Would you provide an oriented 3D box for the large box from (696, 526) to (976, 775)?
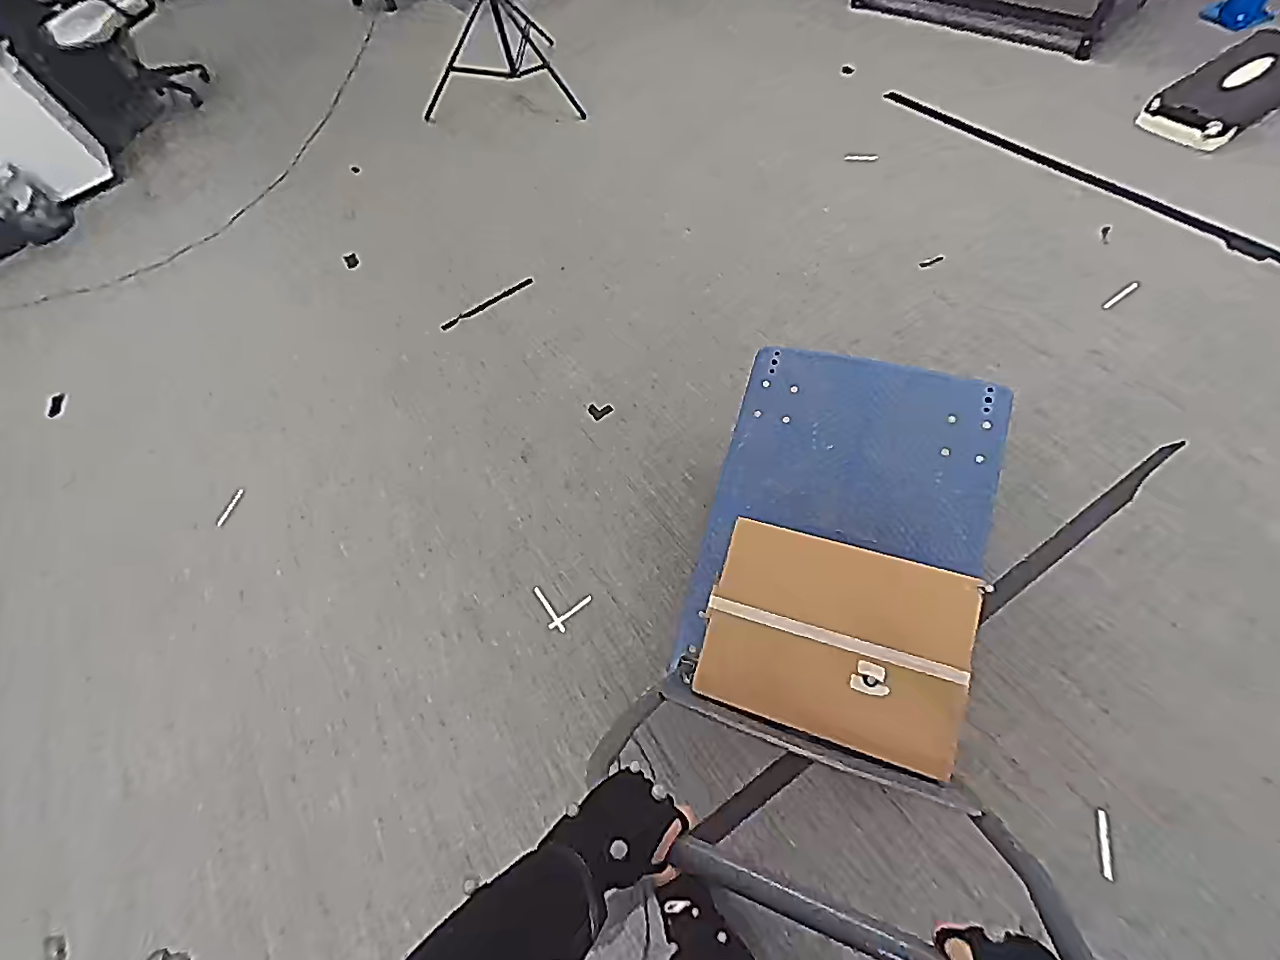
[{"bbox_3d":[0.351,0.304,1.043,0.408,0.320,0.320,14,80,16],"label":"large box"}]
